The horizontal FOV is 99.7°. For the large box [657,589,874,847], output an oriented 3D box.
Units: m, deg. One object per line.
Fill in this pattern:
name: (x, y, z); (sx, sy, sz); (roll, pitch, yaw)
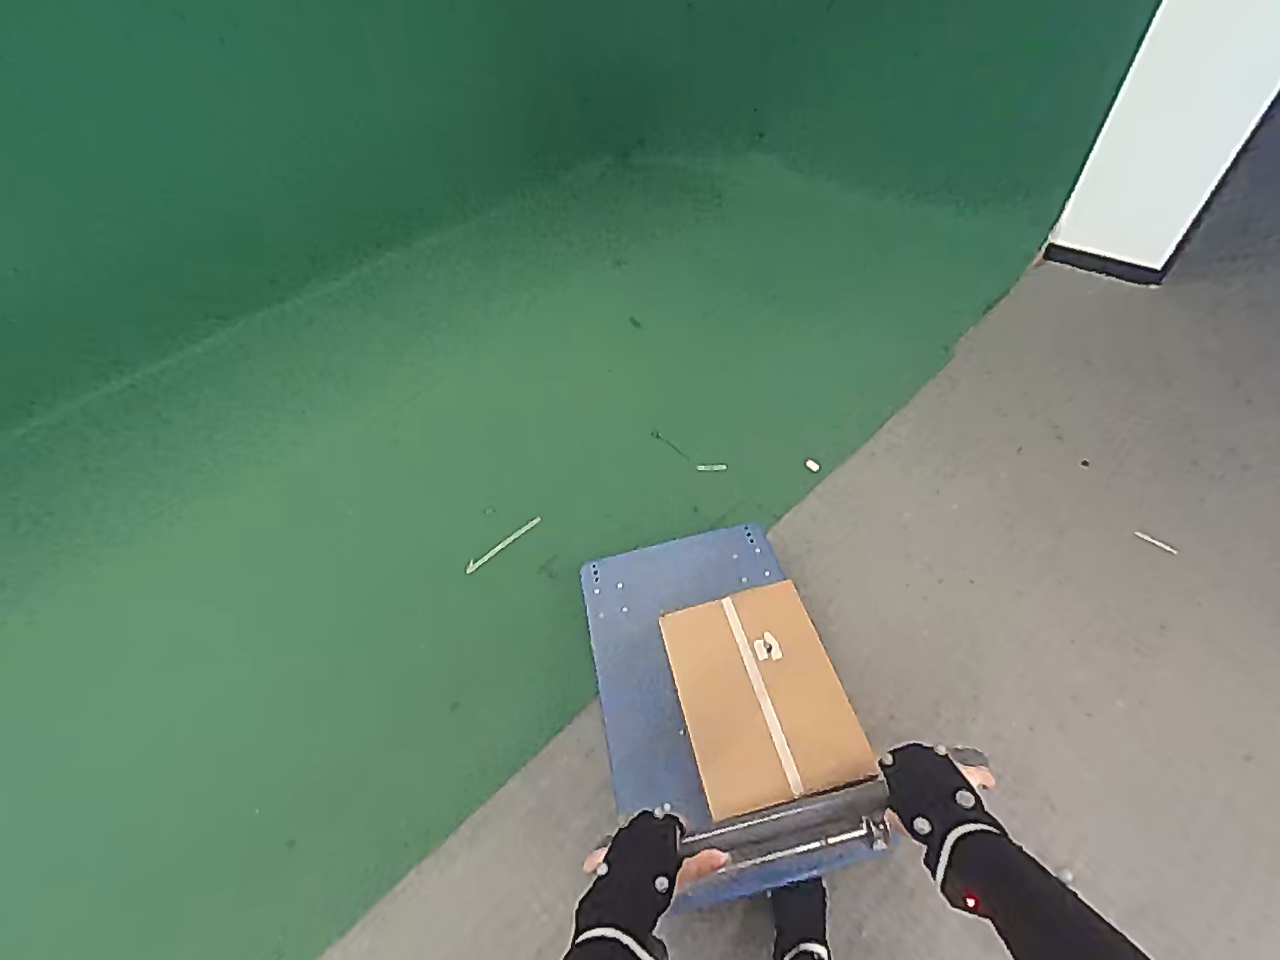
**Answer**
large box: (0.254, 0.525, 1.204); (0.320, 0.320, 0.408); (-15, 49, -3)
